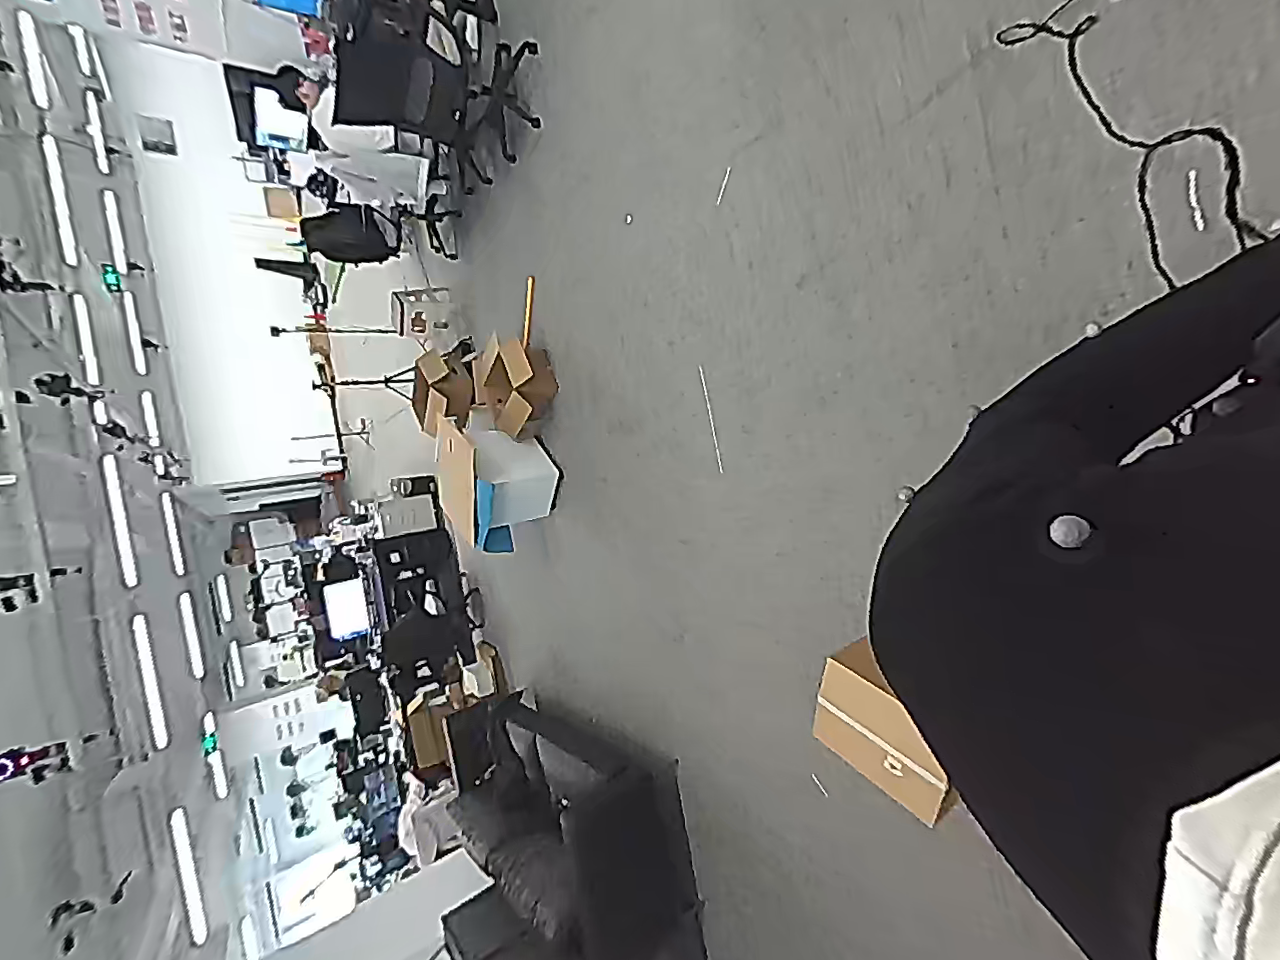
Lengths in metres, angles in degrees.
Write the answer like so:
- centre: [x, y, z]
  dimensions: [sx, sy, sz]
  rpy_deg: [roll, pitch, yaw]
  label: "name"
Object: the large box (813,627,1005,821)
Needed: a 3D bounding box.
- centre: [0.810, 0.715, 1.661]
  dimensions: [0.408, 0.320, 0.320]
  rpy_deg: [26, 119, 47]
  label: "large box"
